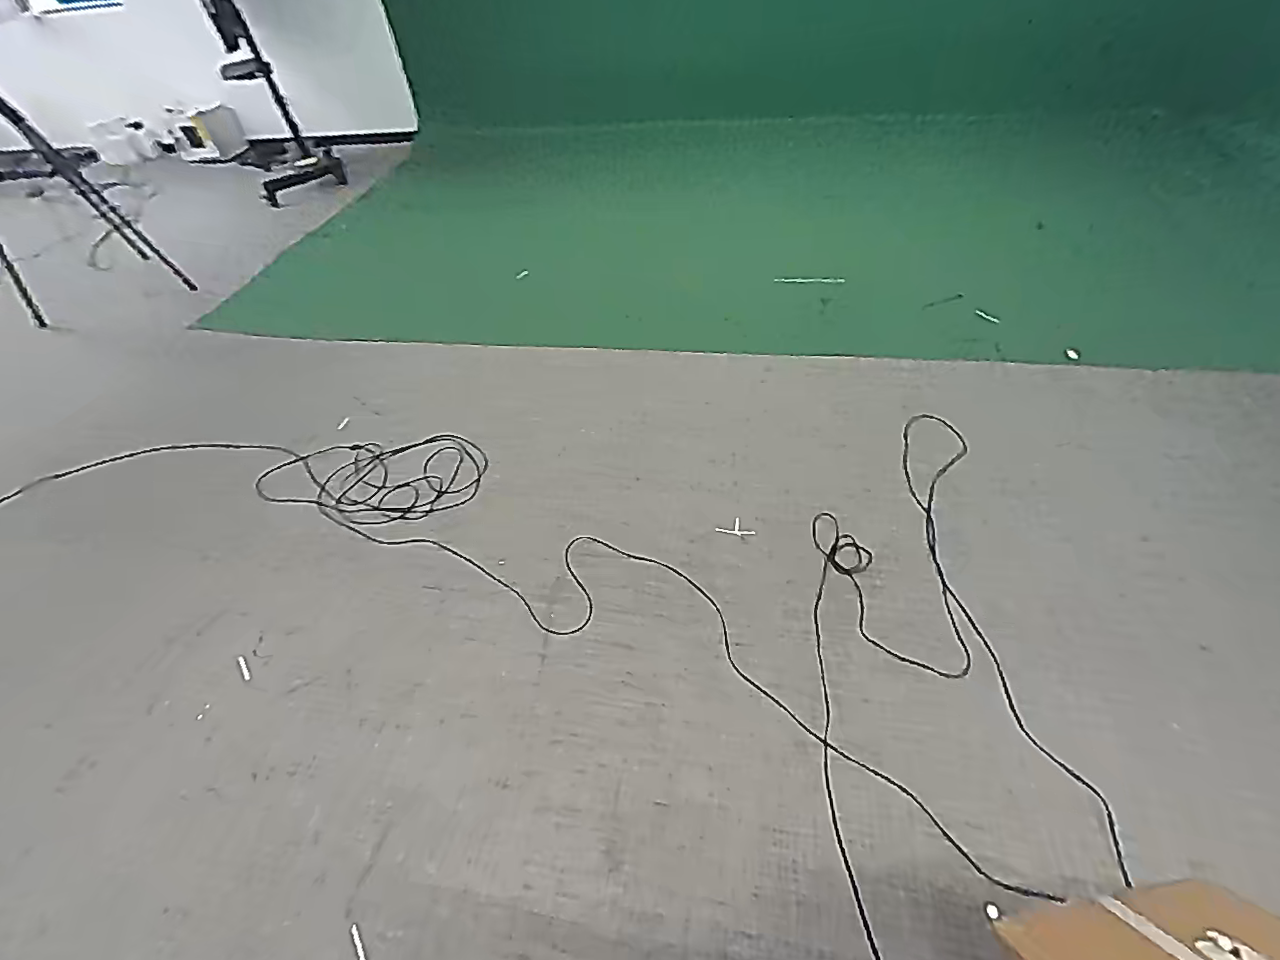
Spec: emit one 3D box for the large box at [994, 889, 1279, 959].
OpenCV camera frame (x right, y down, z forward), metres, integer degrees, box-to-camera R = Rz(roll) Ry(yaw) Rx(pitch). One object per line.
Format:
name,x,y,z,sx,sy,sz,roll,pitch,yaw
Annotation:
large box,0.659,0.700,0.524,0.320,0.408,0.320,-10,78,0
